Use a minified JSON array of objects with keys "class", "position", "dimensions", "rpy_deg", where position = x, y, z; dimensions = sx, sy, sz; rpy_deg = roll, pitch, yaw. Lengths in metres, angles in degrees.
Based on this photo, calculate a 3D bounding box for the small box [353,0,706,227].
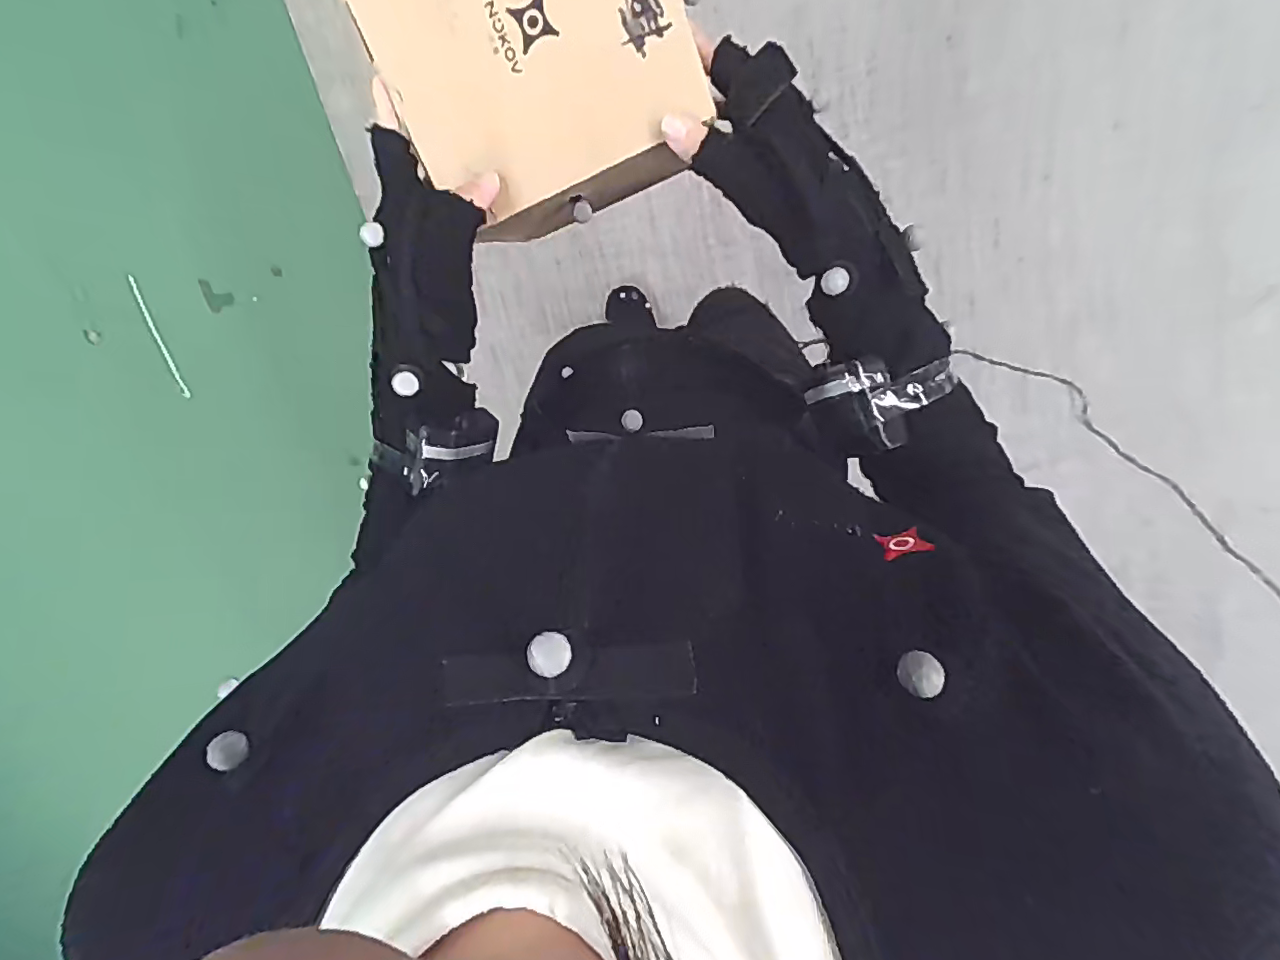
[{"class":"small box","position":[-0.061,-0.296,0.376],"dimensions":[0.179,0.176,0.168],"rpy_deg":[-21,107,13]}]
